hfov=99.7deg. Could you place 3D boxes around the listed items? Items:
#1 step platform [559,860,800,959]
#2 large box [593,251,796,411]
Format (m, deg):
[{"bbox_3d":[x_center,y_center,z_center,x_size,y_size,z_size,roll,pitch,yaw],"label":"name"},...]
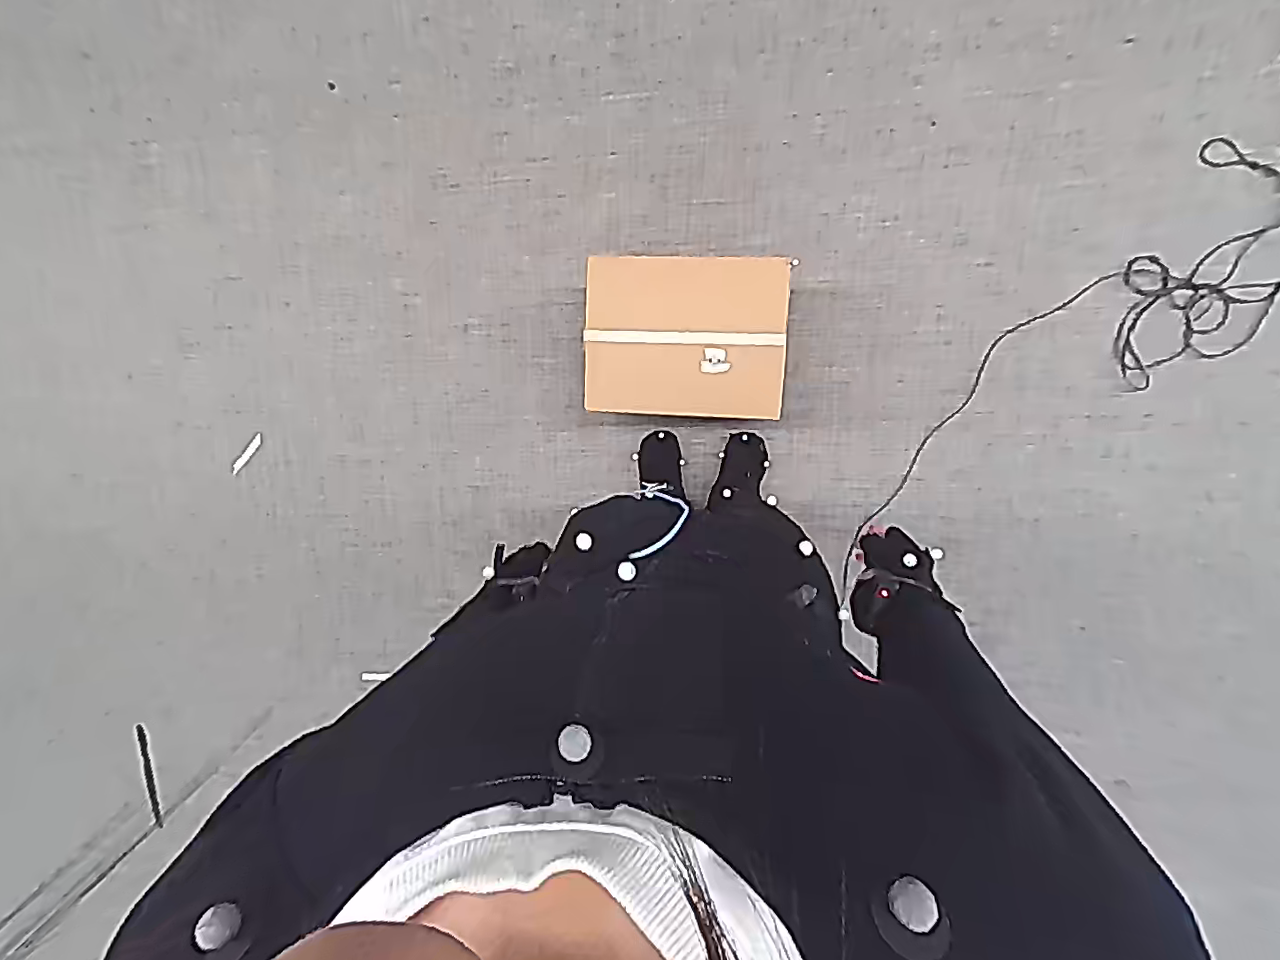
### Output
[{"bbox_3d":[0.111,1.333,1.564,0.684,0.204,0.286,0,99,10],"label":"step platform"},{"bbox_3d":[0.120,-0.322,1.235,0.408,0.320,0.320,4,100,7],"label":"large box"}]
